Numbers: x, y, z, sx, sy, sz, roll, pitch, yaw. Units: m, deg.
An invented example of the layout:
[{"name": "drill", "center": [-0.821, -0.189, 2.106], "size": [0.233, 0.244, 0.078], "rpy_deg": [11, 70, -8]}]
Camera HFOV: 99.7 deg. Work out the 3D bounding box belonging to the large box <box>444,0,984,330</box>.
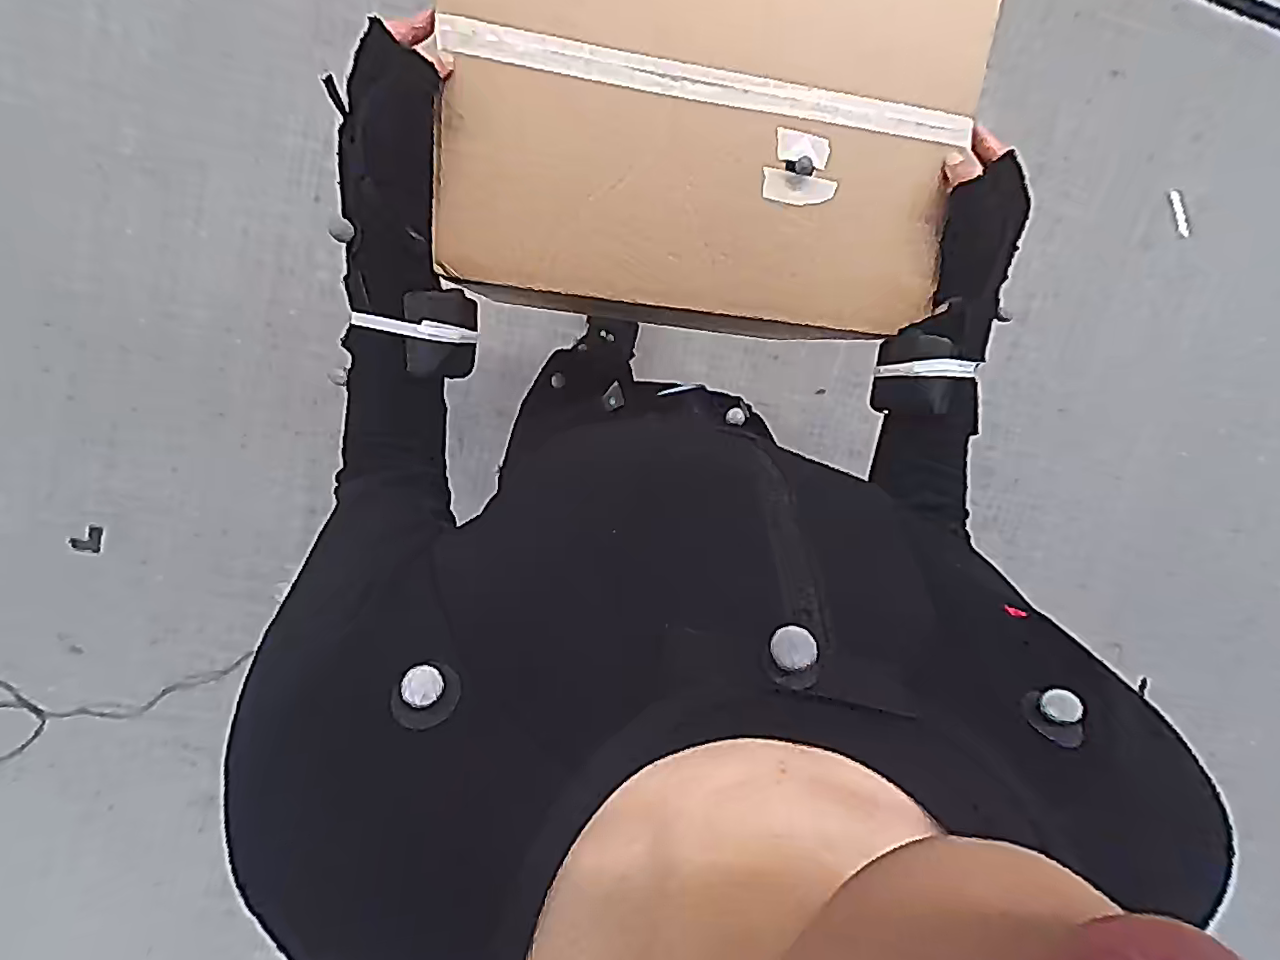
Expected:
[{"name": "large box", "center": [0.037, -0.333, 0.550], "size": [0.408, 0.320, 0.320], "rpy_deg": [5, 105, -10]}]
